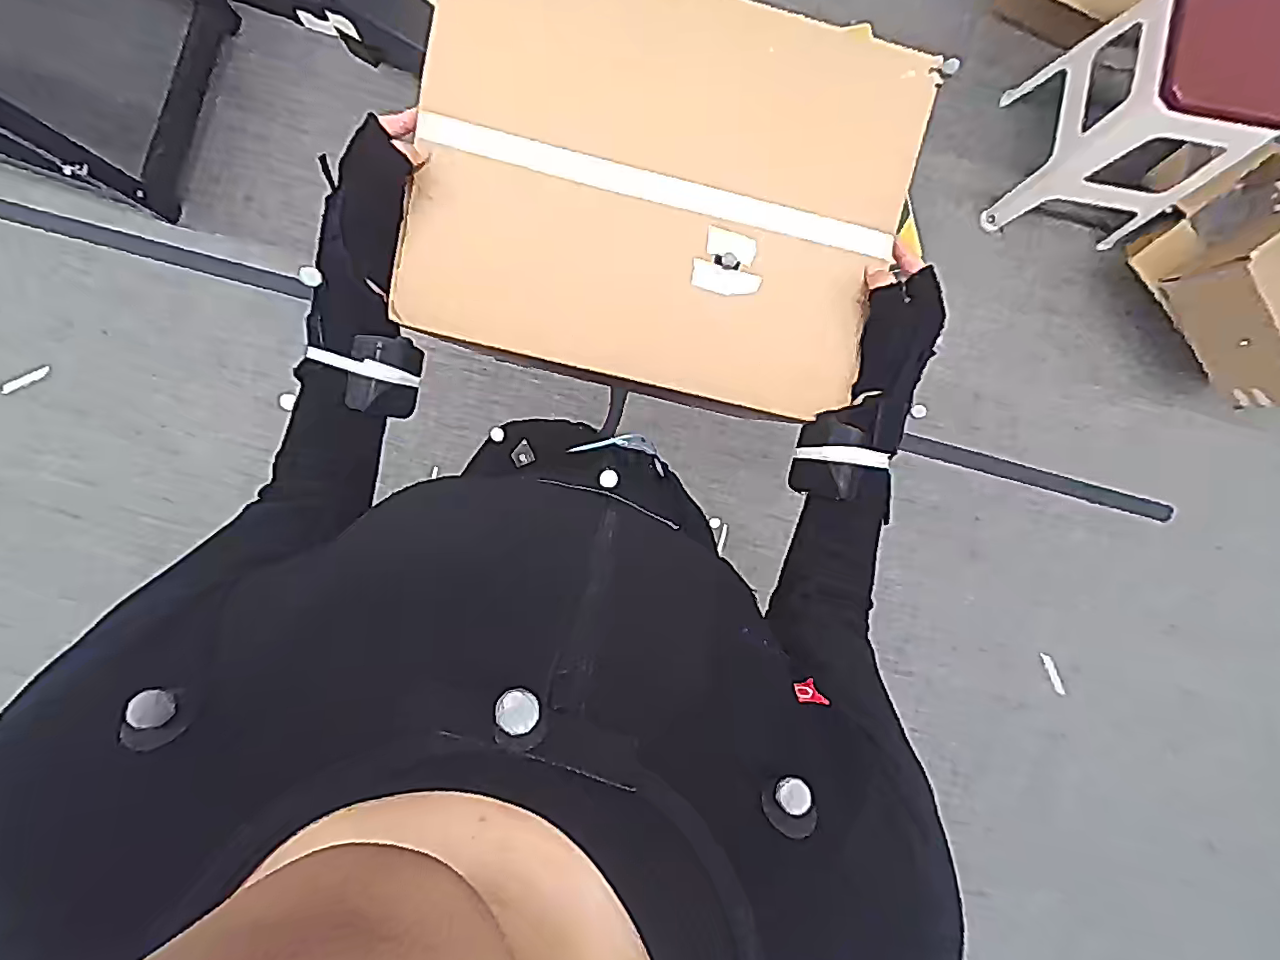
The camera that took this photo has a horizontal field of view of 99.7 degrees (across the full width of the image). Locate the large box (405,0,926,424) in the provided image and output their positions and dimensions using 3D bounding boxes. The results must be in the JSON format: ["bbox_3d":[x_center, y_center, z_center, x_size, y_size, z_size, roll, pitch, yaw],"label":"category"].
[{"bbox_3d":[0.010,-0.259,0.609,0.408,0.320,0.320,13,98,-6],"label":"large box"}]
